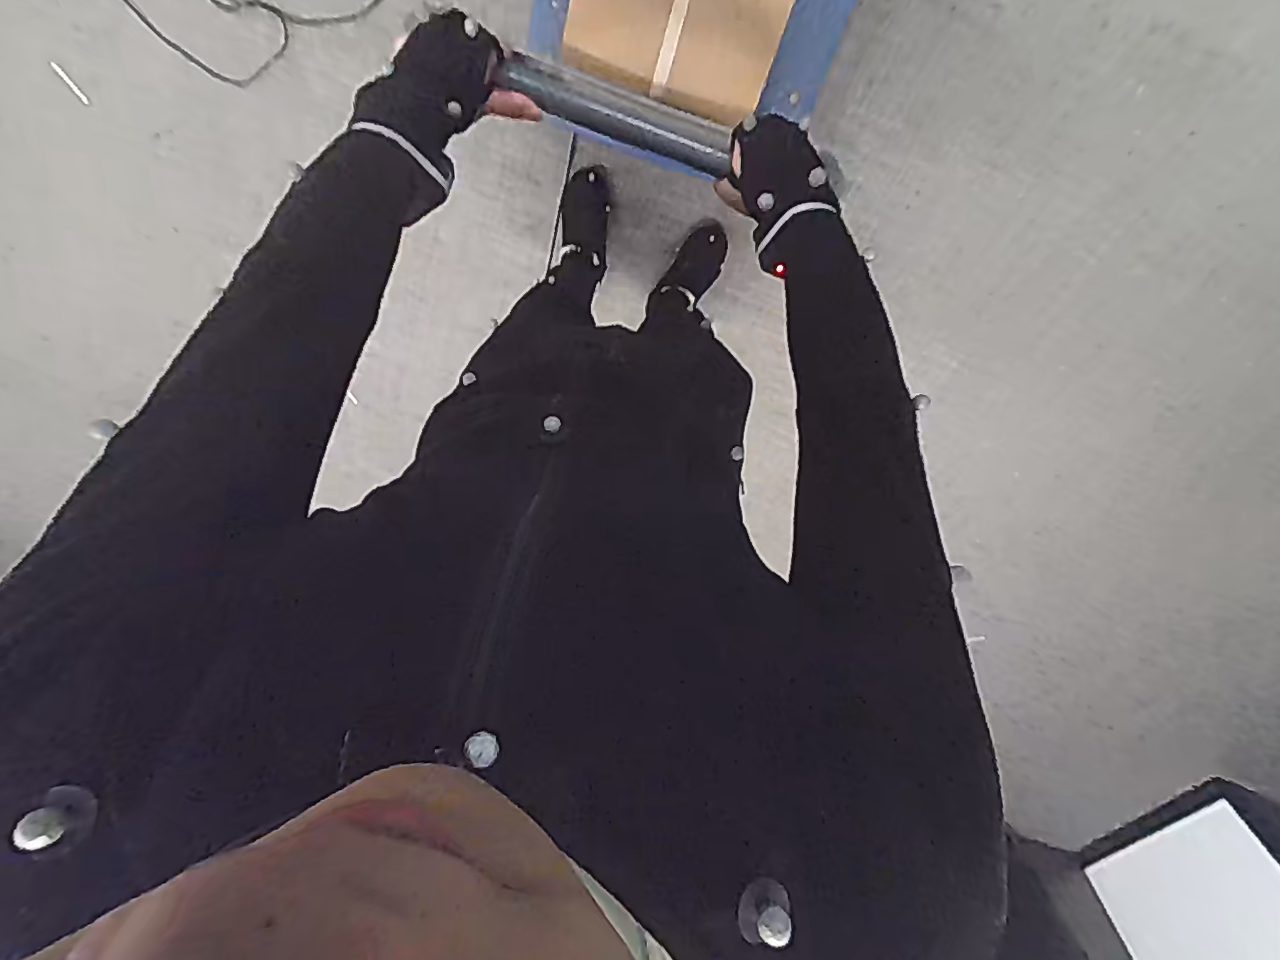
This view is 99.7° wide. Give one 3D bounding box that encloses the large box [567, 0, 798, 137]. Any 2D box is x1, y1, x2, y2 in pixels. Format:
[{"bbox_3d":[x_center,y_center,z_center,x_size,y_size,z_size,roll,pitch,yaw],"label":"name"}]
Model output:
[{"bbox_3d":[0.100,-0.828,0.870,0.320,0.320,0.408,17,121,-5],"label":"large box"}]
